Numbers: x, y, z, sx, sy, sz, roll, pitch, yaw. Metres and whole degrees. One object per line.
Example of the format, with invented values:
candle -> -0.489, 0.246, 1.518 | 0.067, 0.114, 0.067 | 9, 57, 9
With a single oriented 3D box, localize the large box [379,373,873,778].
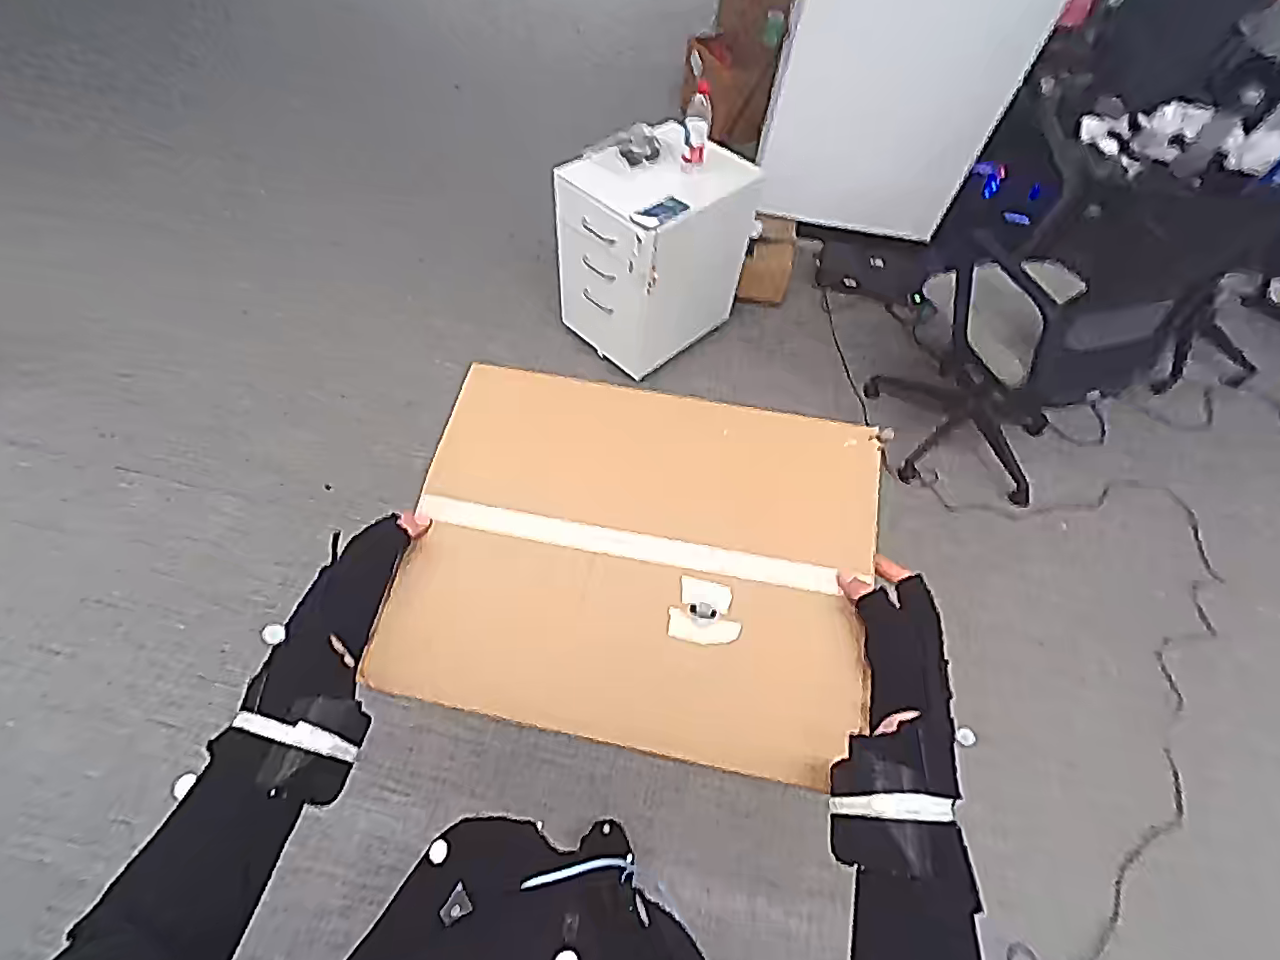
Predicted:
large box -> 0.004, 0.116, 0.625 | 0.408, 0.320, 0.320 | 11, 69, 5
